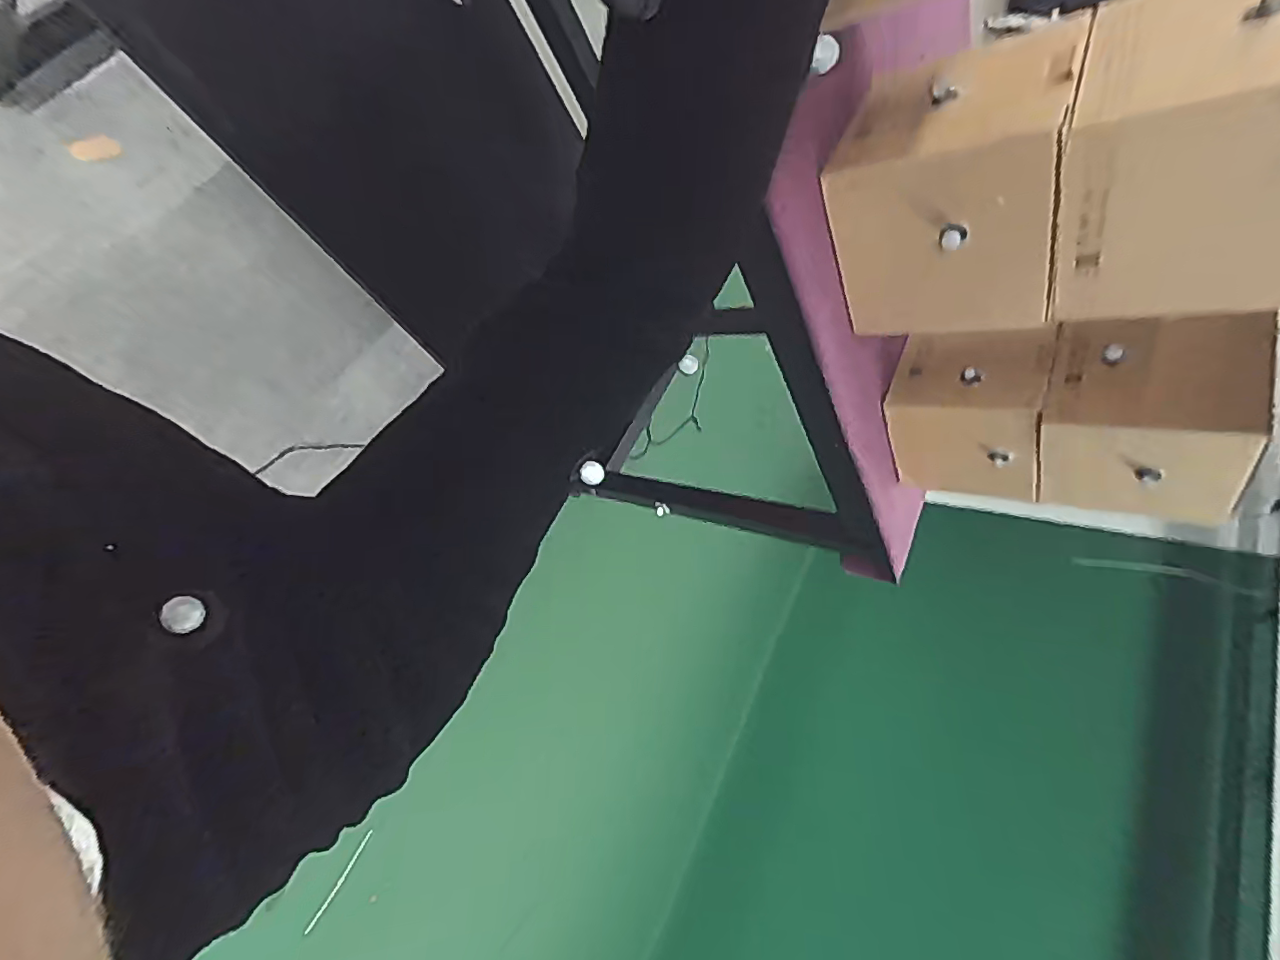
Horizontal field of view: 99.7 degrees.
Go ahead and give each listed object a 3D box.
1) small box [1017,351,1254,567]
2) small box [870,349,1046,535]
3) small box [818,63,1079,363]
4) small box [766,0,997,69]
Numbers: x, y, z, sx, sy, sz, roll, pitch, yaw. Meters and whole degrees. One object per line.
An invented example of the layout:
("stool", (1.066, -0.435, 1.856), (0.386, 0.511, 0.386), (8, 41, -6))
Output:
("small box", (0.540, -0.029, 0.611), (0.179, 0.176, 0.168), (49, 61, -43))
("small box", (0.415, -0.053, 0.713), (0.168, 0.176, 0.179), (-57, 137, -26))
("small box", (0.277, -0.223, 0.494), (0.168, 0.176, 0.179), (-59, 138, -24))
("small box", (0.163, -0.385, 0.307), (0.168, 0.176, 0.179), (48, 61, -47))
